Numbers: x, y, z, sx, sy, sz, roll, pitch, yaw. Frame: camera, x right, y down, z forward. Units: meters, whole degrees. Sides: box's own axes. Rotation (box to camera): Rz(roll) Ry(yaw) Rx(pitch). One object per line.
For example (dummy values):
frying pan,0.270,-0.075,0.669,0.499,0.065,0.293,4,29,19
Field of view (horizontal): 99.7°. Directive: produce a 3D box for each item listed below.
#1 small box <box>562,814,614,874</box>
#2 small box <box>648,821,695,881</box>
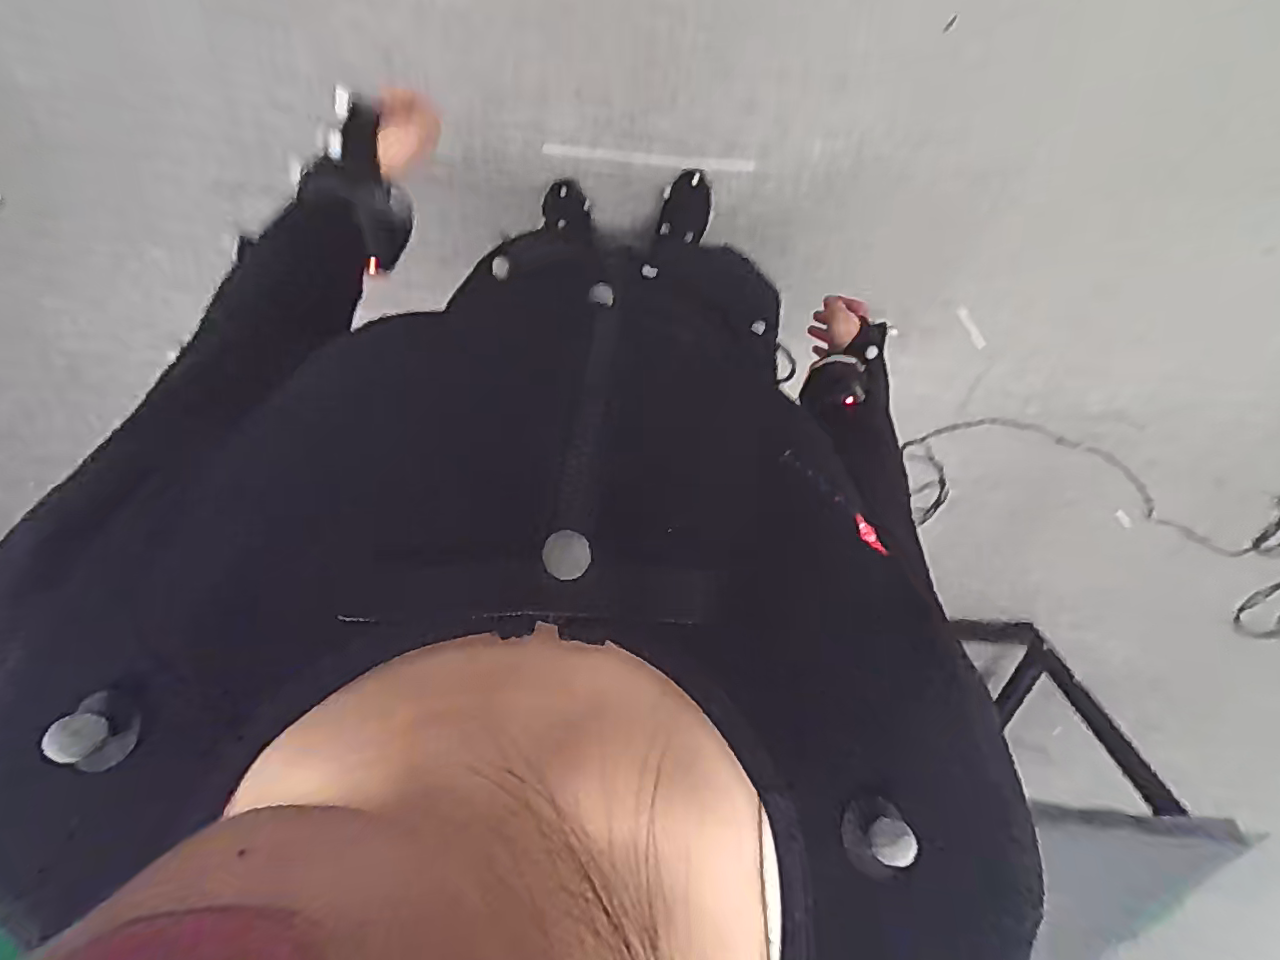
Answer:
small box,-0.240,1.703,2.539,0.179,0.176,0.168,35,116,-19
small box,0.151,1.762,2.571,0.168,0.176,0.179,-24,118,14
